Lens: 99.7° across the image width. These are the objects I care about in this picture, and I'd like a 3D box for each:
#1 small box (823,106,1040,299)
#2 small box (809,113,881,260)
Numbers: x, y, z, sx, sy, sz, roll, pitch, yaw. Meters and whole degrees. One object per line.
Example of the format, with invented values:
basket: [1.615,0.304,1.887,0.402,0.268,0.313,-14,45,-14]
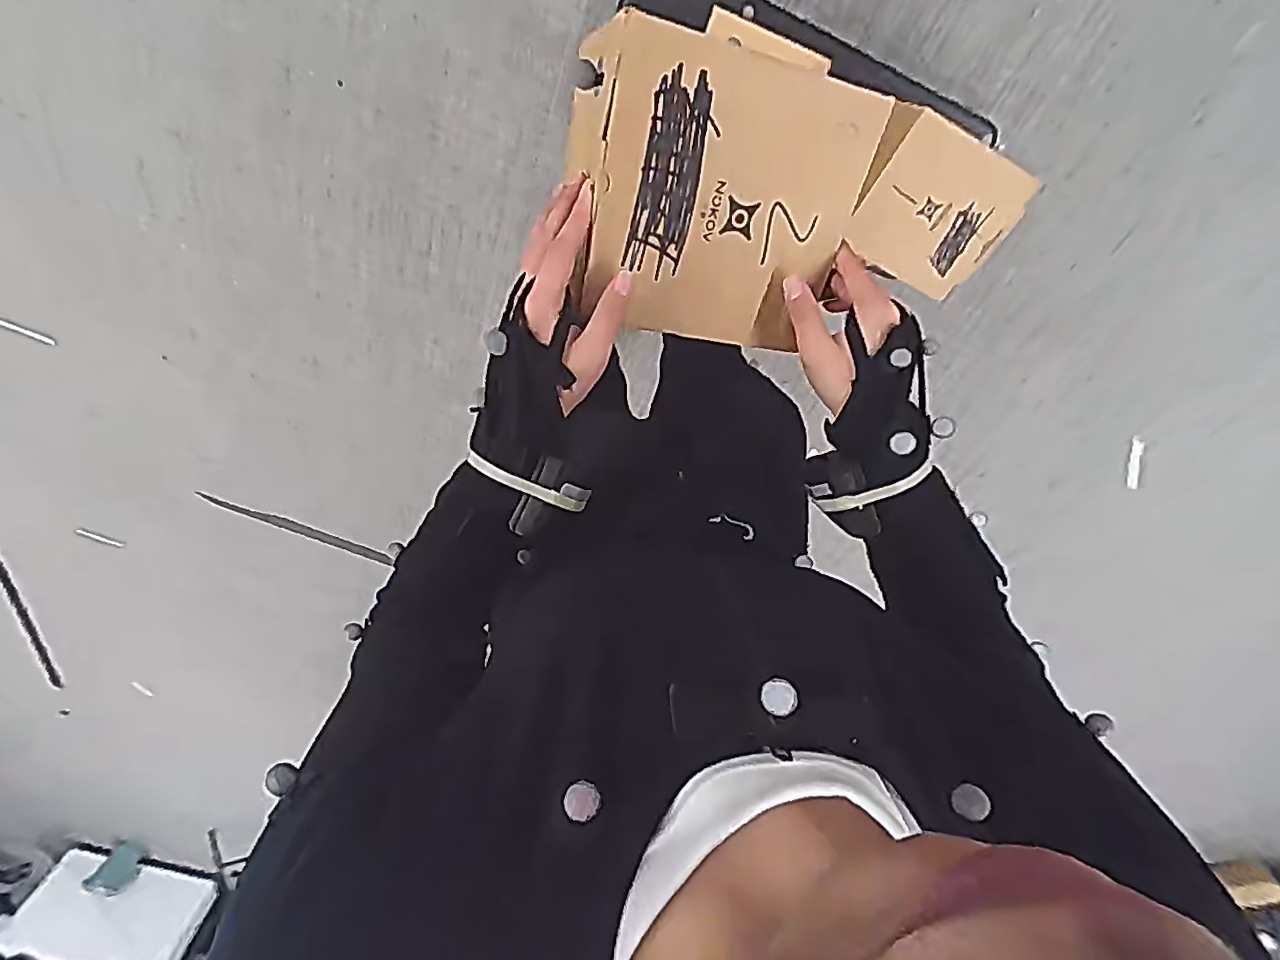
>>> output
small box: [0.379,-0.384,0.740,0.179,0.176,0.168,25,126,-10]
small box: [0.394,-0.469,0.880,0.168,0.176,0.179,20,127,-8]
